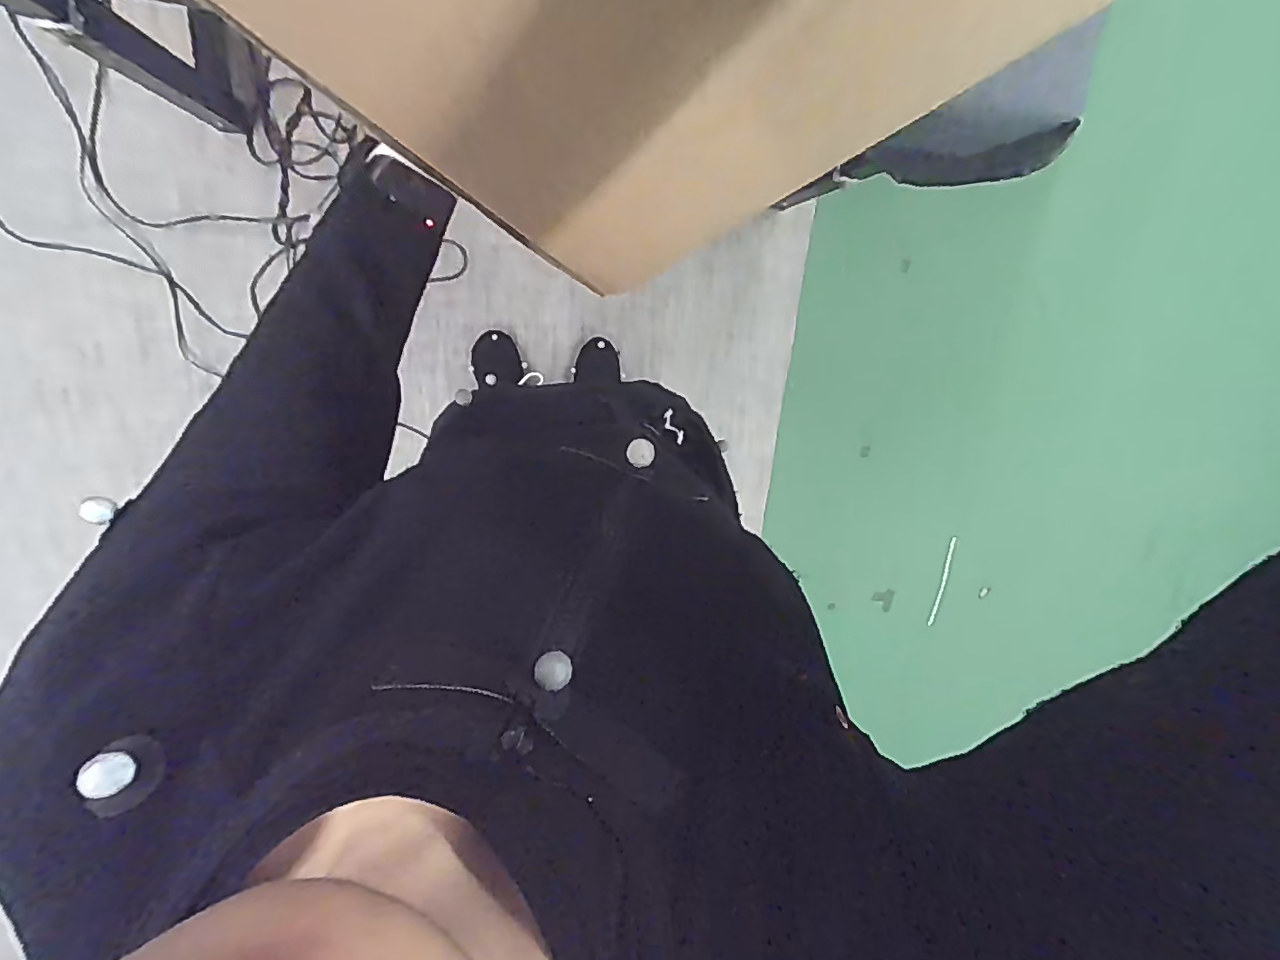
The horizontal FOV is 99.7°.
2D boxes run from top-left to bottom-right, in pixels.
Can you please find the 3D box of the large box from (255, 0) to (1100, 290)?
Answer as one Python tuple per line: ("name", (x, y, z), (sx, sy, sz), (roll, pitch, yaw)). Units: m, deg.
("large box", (0.050, -0.353, 0.227), (0.408, 0.320, 0.320), (-26, 82, 19))
